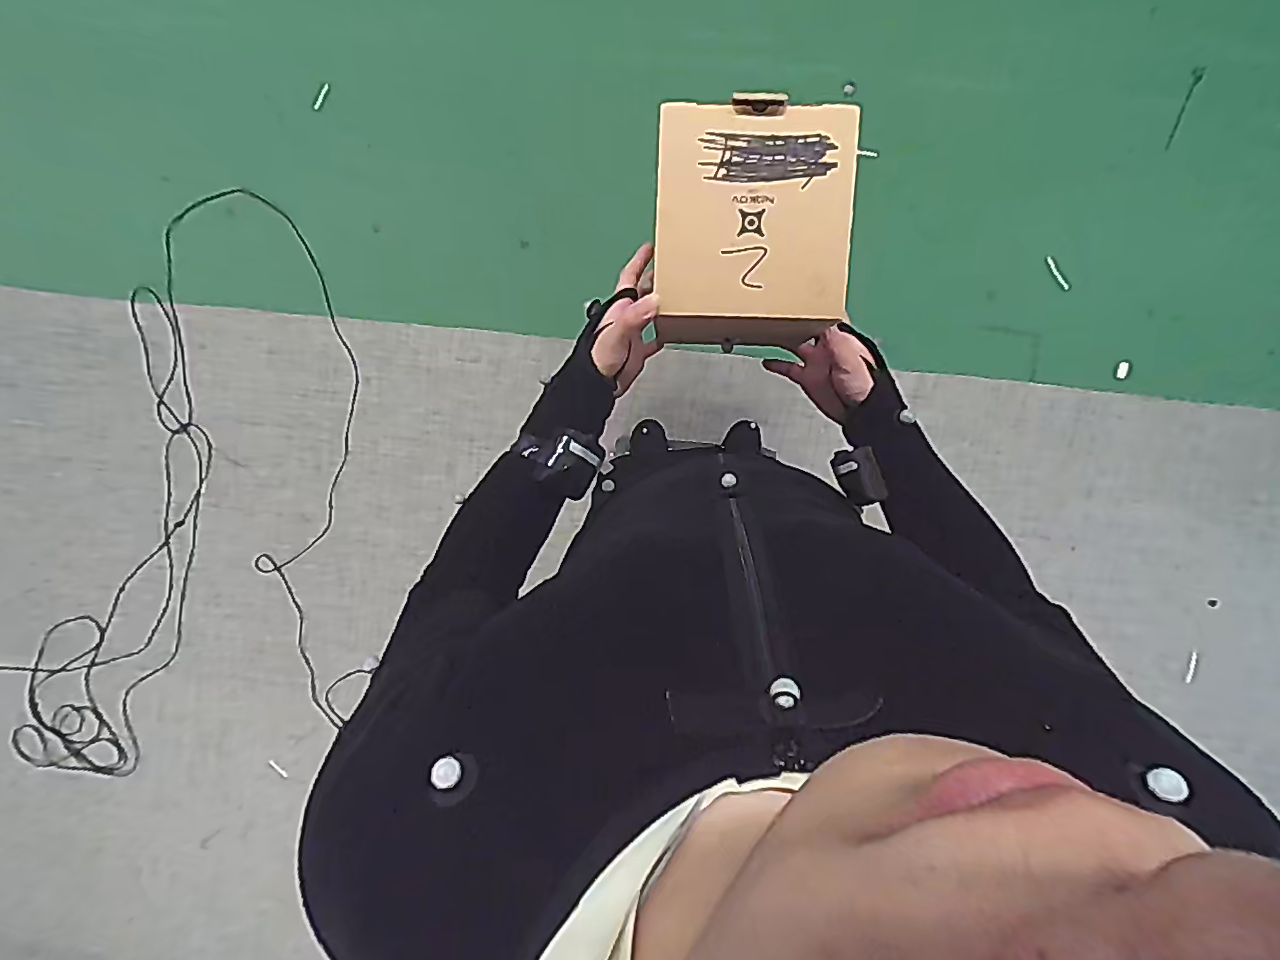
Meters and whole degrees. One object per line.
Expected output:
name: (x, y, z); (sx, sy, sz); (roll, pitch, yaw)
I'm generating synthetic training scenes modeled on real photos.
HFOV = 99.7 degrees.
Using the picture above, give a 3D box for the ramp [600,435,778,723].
ramp: (0.136, 0.358, 1.756); (0.509, 0.206, 0.991); (3, 97, 1)
